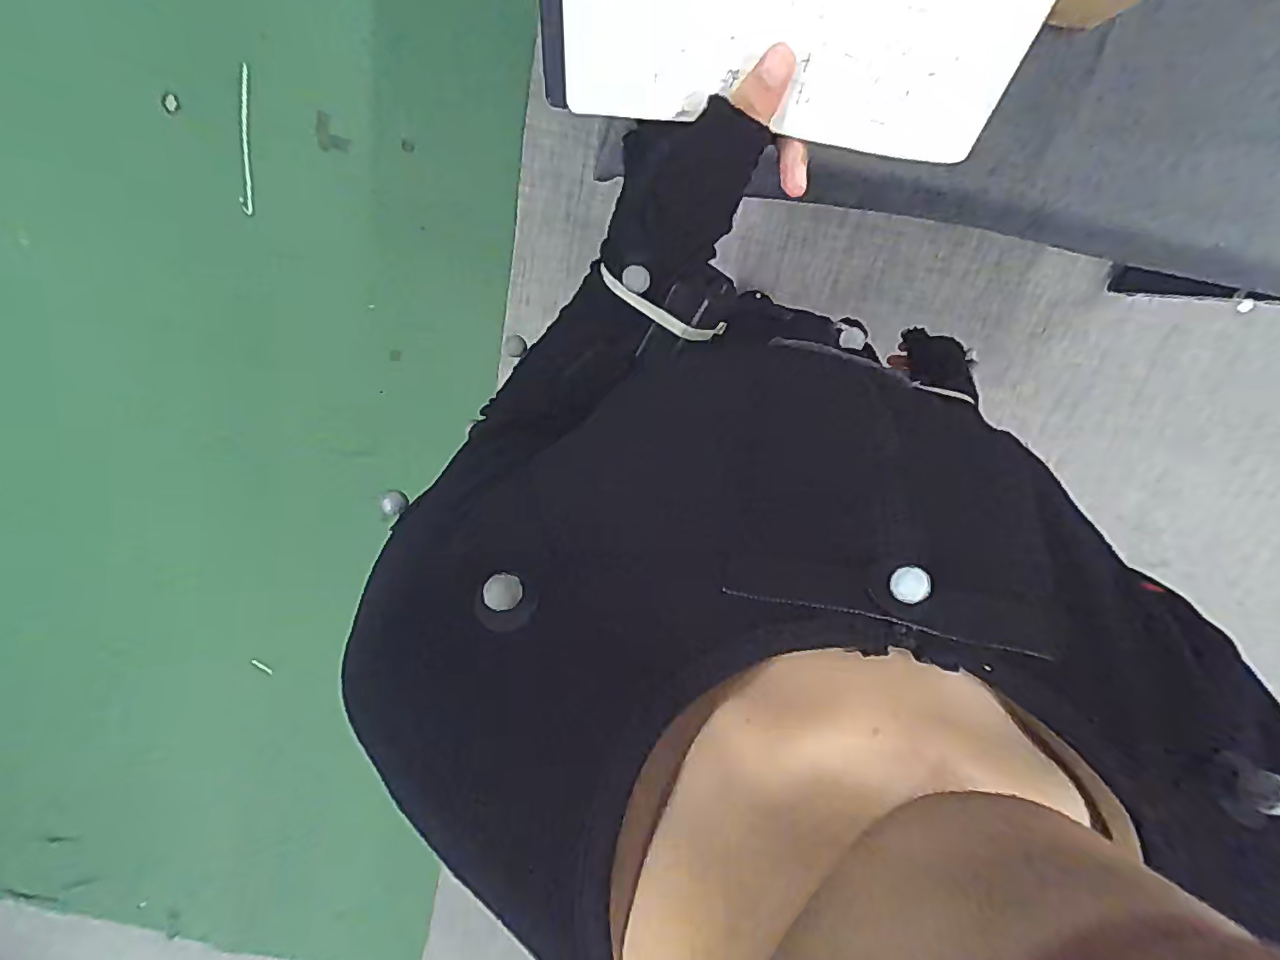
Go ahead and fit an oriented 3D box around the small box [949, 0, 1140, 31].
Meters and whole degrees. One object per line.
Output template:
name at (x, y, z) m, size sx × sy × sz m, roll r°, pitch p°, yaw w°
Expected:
small box at (0.388, -0.520, 0.445) m, size 0.168 × 0.176 × 0.179 m, roll 8°, pitch 111°, yaw 1°
